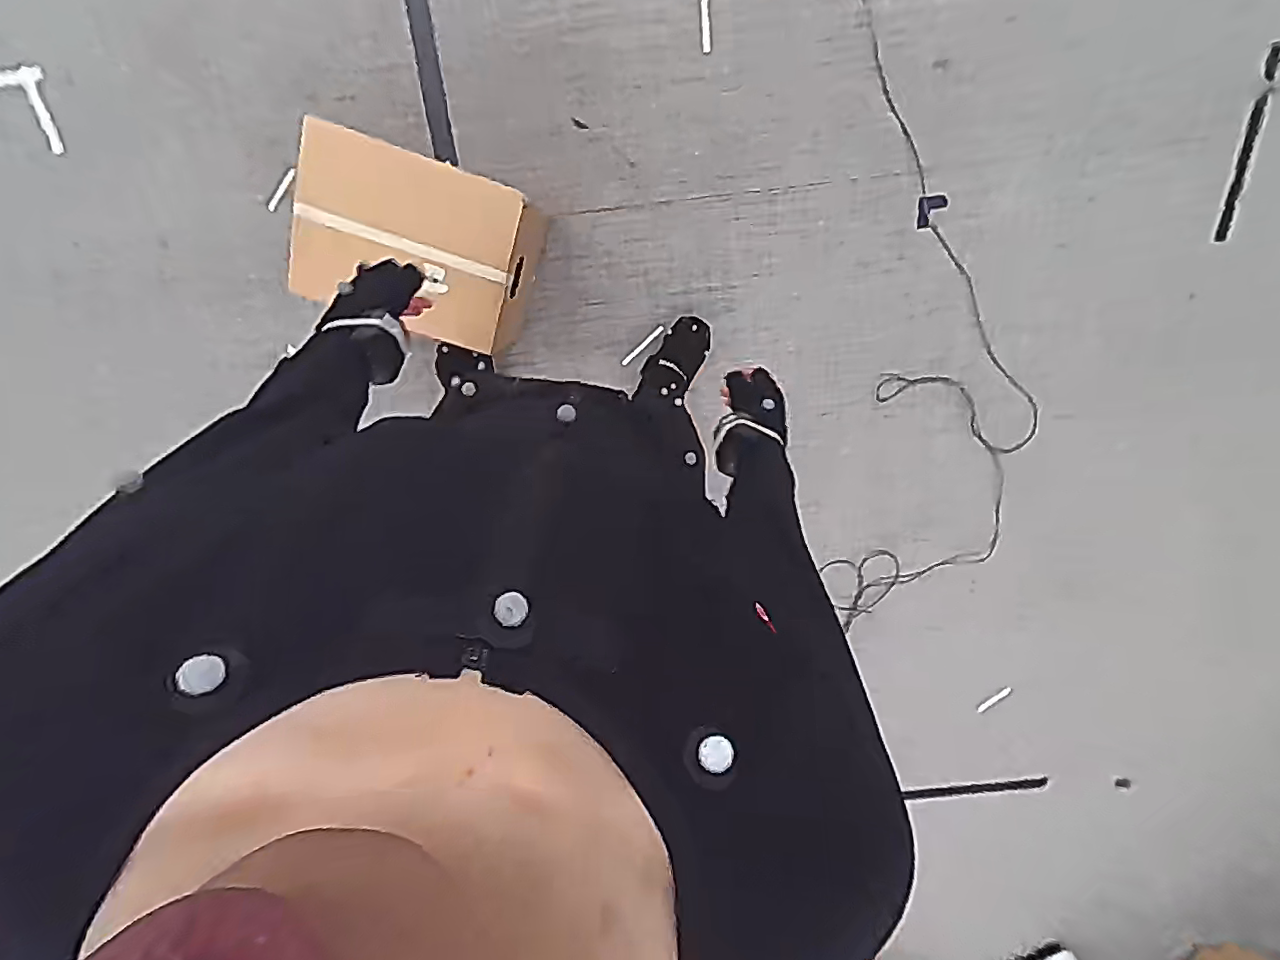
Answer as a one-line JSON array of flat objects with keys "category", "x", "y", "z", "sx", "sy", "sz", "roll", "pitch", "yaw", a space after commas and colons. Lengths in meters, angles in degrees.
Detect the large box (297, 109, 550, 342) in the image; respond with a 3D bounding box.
[{"category": "large box", "x": -0.442, "y": -0.521, "z": 1.166, "sx": 0.408, "sy": 0.320, "sz": 0.320, "roll": 17, "pitch": 110, "yaw": -8}]
